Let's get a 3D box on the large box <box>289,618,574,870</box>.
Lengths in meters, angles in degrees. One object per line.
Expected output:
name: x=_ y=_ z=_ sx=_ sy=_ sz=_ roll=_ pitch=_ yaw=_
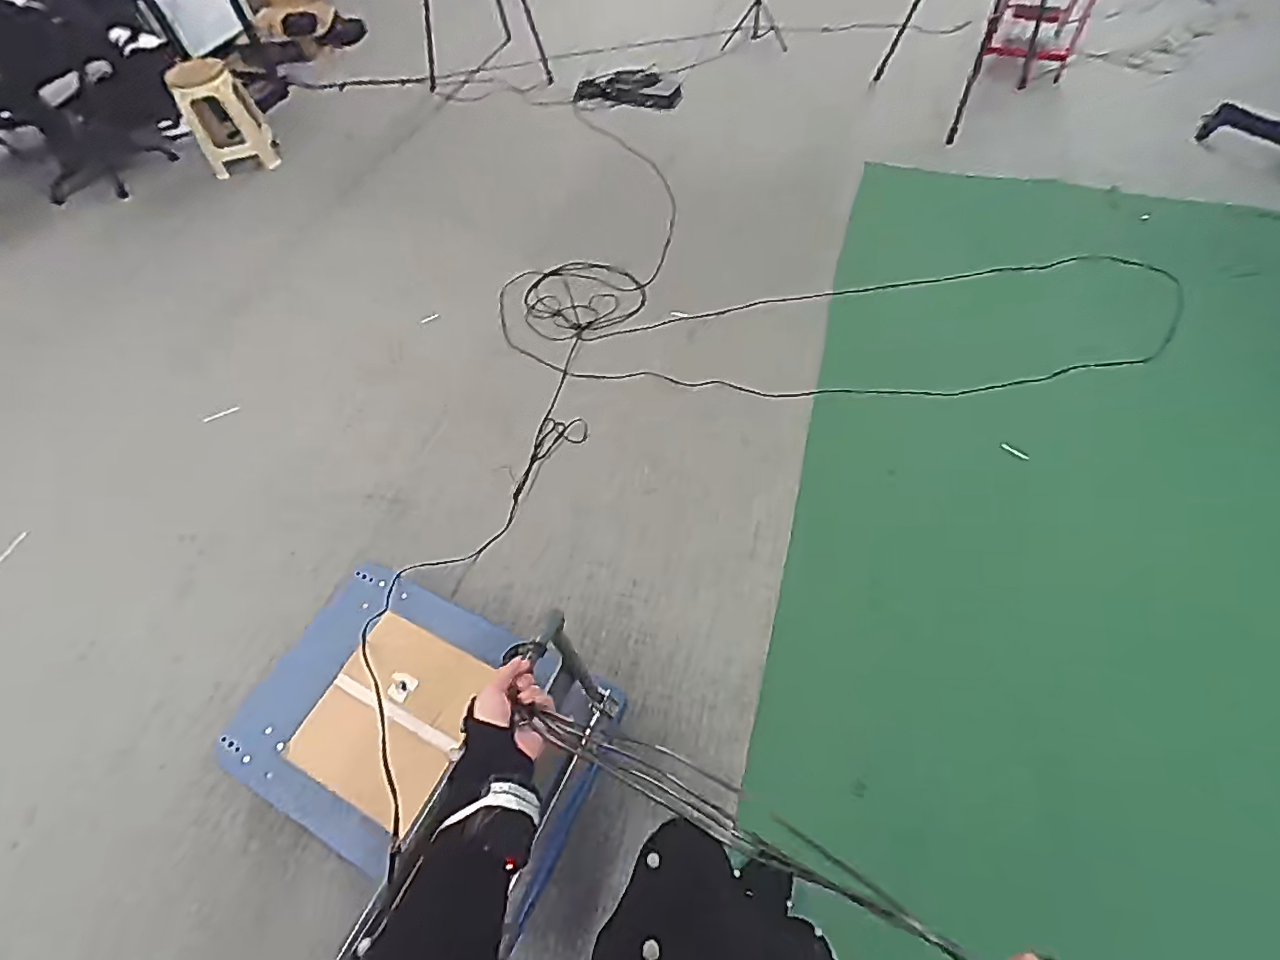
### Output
large box: x=-0.404 y=0.551 z=1.148 sx=0.408 sy=0.320 sz=0.320 roll=21 pitch=60 yaw=17
